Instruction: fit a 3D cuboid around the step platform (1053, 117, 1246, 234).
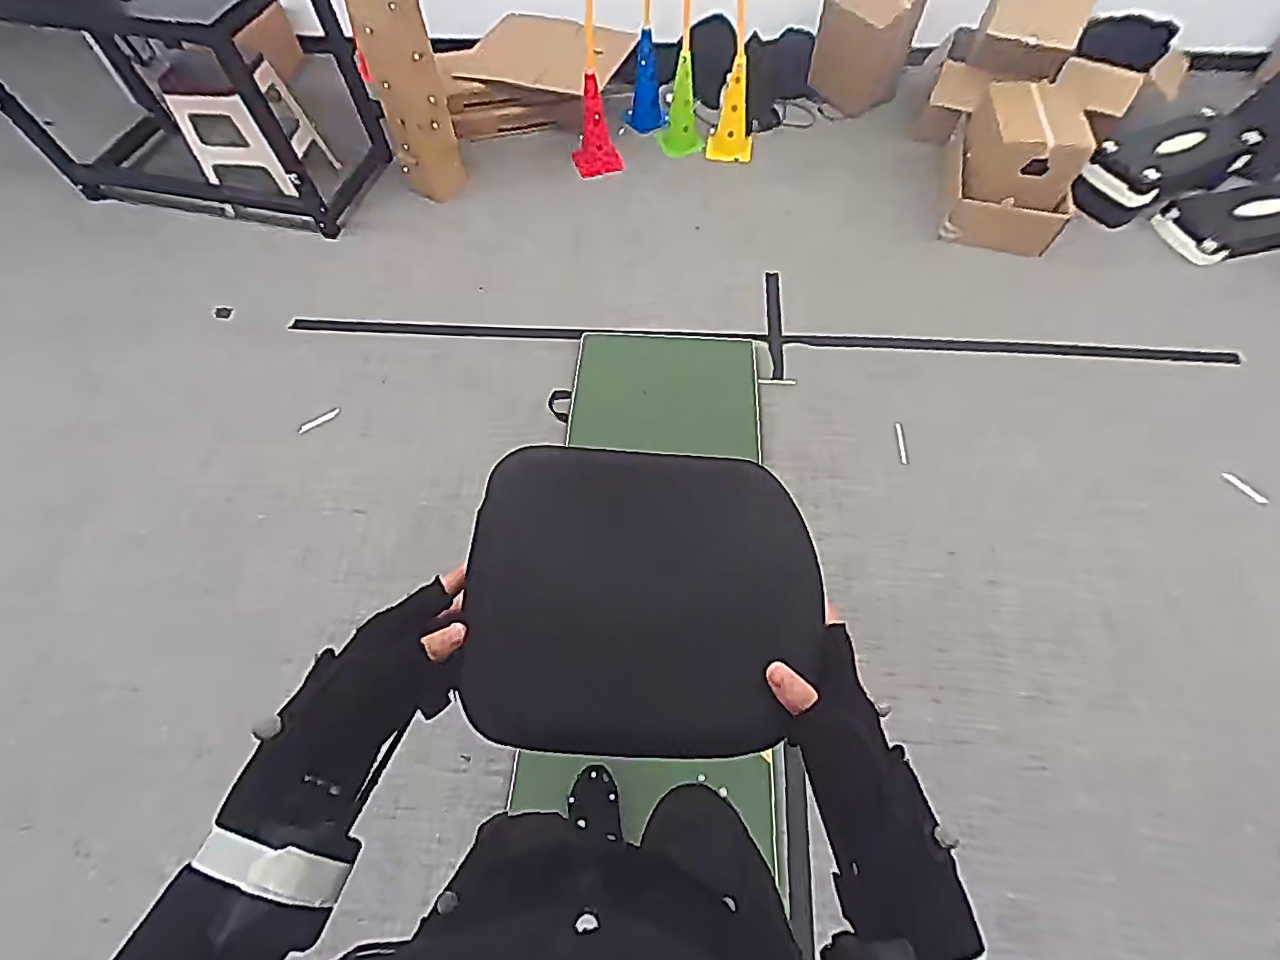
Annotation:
[{"bbox_3d":[2.108,-1.268,2.241,0.684,0.204,0.286,-23,64,-11],"label":"step platform"}]
